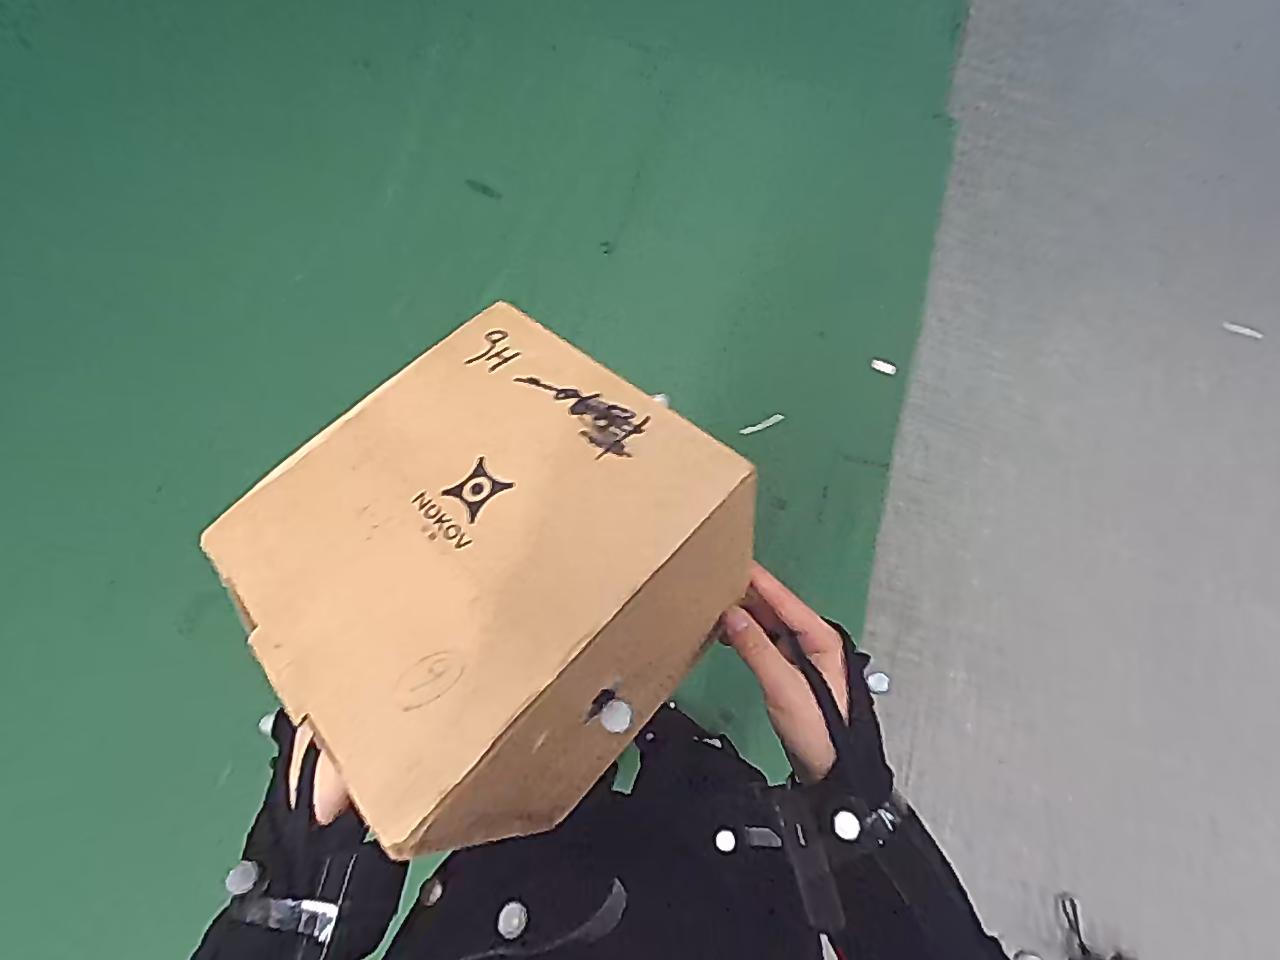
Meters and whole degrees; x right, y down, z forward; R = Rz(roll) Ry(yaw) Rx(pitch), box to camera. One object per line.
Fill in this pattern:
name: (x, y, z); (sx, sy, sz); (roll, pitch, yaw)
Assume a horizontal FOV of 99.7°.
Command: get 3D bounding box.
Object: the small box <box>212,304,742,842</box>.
small box: (-0.059, 0.050, 0.288); (0.179, 0.176, 0.168); (-43, 61, -15)
